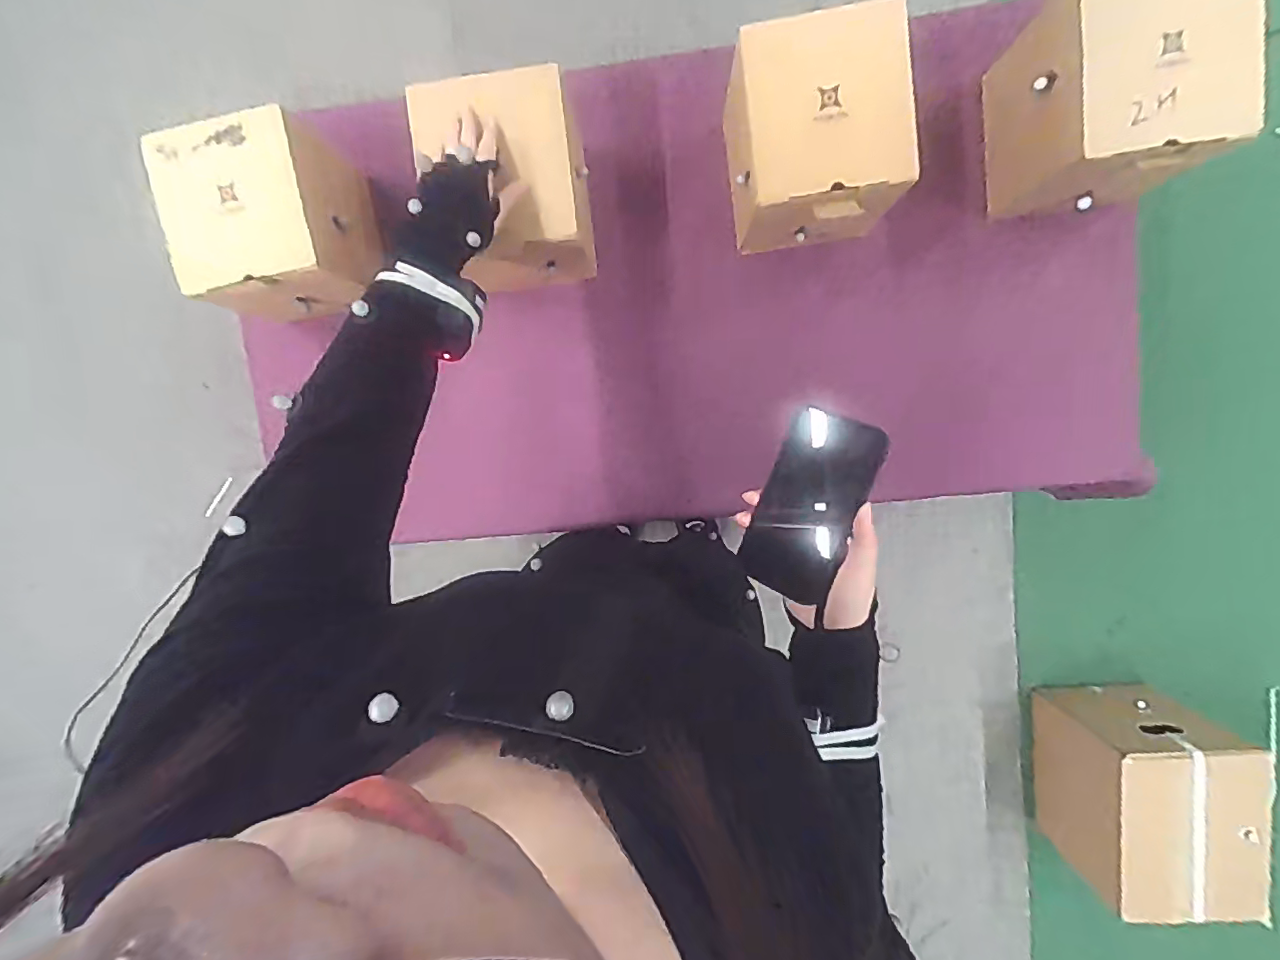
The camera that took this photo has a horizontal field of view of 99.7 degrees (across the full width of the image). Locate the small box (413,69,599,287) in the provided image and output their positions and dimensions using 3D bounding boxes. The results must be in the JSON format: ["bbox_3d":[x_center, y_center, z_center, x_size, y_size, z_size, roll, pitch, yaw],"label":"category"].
[{"bbox_3d":[-0.146,-0.342,0.651,0.168,0.176,0.179,-5,96,3],"label":"small box"}]

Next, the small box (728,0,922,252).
[{"bbox_3d":[0.199,-0.387,0.624,0.168,0.176,0.179,-8,97,5],"label":"small box"}]

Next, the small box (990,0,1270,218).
[{"bbox_3d":[0.515,-0.417,0.595,0.168,0.176,0.179,-5,96,6],"label":"small box"}]

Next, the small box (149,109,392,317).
[{"bbox_3d":[-0.437,-0.309,0.672,0.168,0.176,0.179,-10,96,4],"label":"small box"}]
